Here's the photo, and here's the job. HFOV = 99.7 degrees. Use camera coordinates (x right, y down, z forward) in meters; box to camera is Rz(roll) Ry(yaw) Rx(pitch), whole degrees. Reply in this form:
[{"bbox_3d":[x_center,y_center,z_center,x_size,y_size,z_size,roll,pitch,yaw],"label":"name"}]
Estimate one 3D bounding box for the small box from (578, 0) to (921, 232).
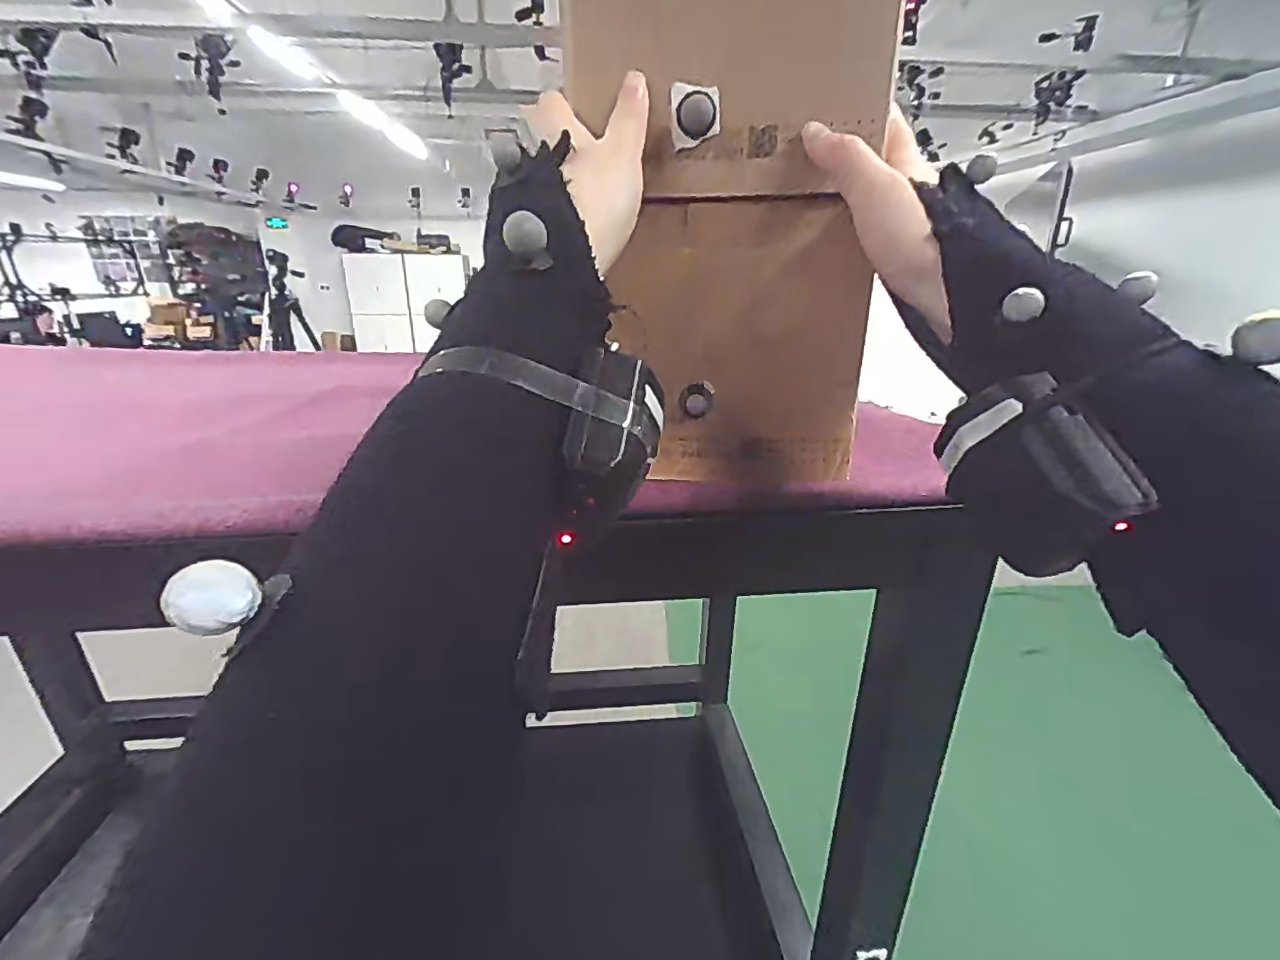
[{"bbox_3d":[0.058,-0.247,0.331,0.168,0.176,0.179,1,23,8],"label":"small box"}]
